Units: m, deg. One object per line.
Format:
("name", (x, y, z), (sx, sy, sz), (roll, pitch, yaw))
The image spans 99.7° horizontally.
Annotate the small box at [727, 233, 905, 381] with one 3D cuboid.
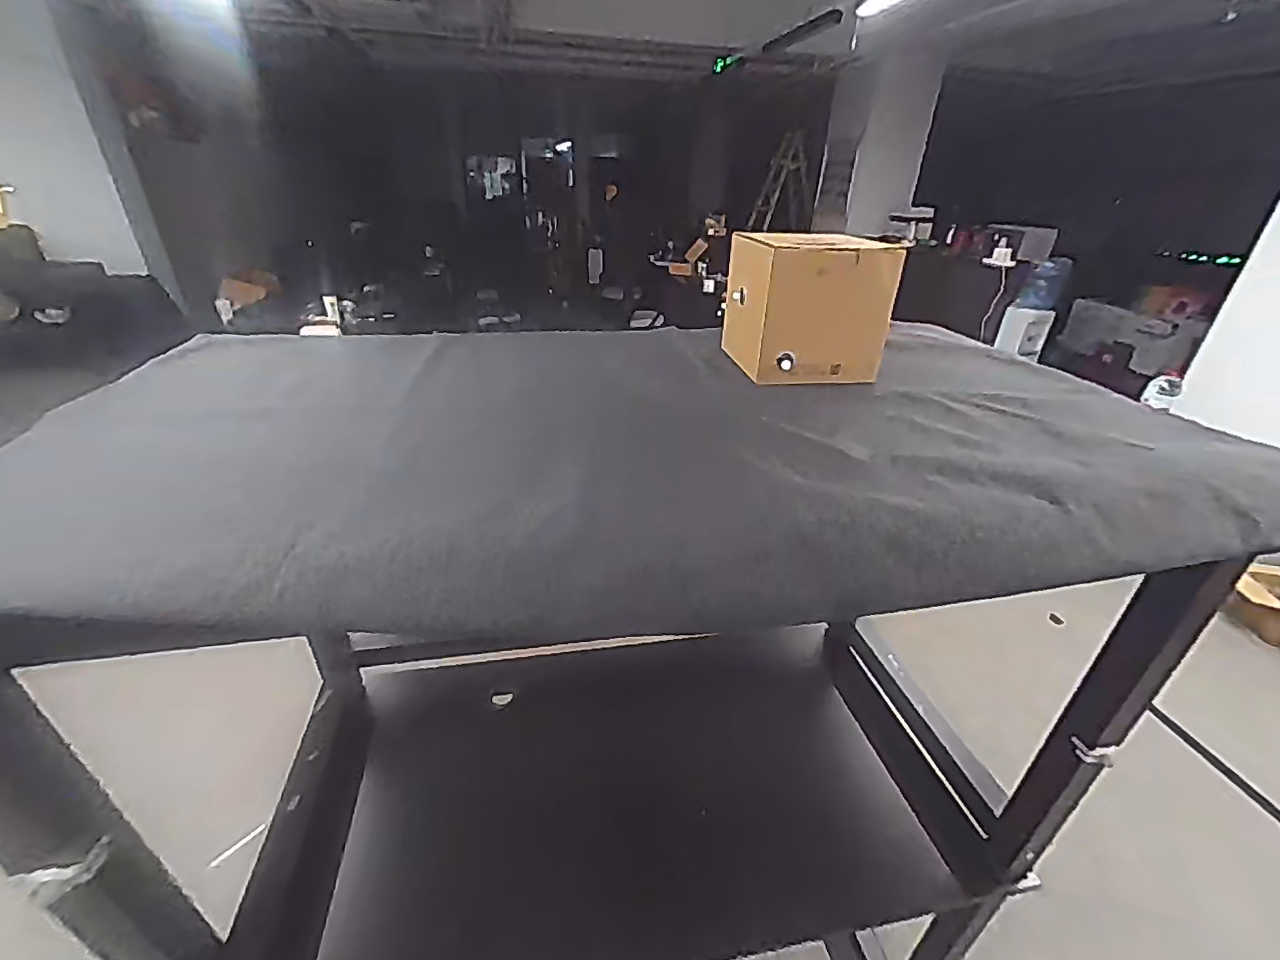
("small box", (0.224, -0.238, 0.738), (0.168, 0.176, 0.179), (-2, 29, -7))
